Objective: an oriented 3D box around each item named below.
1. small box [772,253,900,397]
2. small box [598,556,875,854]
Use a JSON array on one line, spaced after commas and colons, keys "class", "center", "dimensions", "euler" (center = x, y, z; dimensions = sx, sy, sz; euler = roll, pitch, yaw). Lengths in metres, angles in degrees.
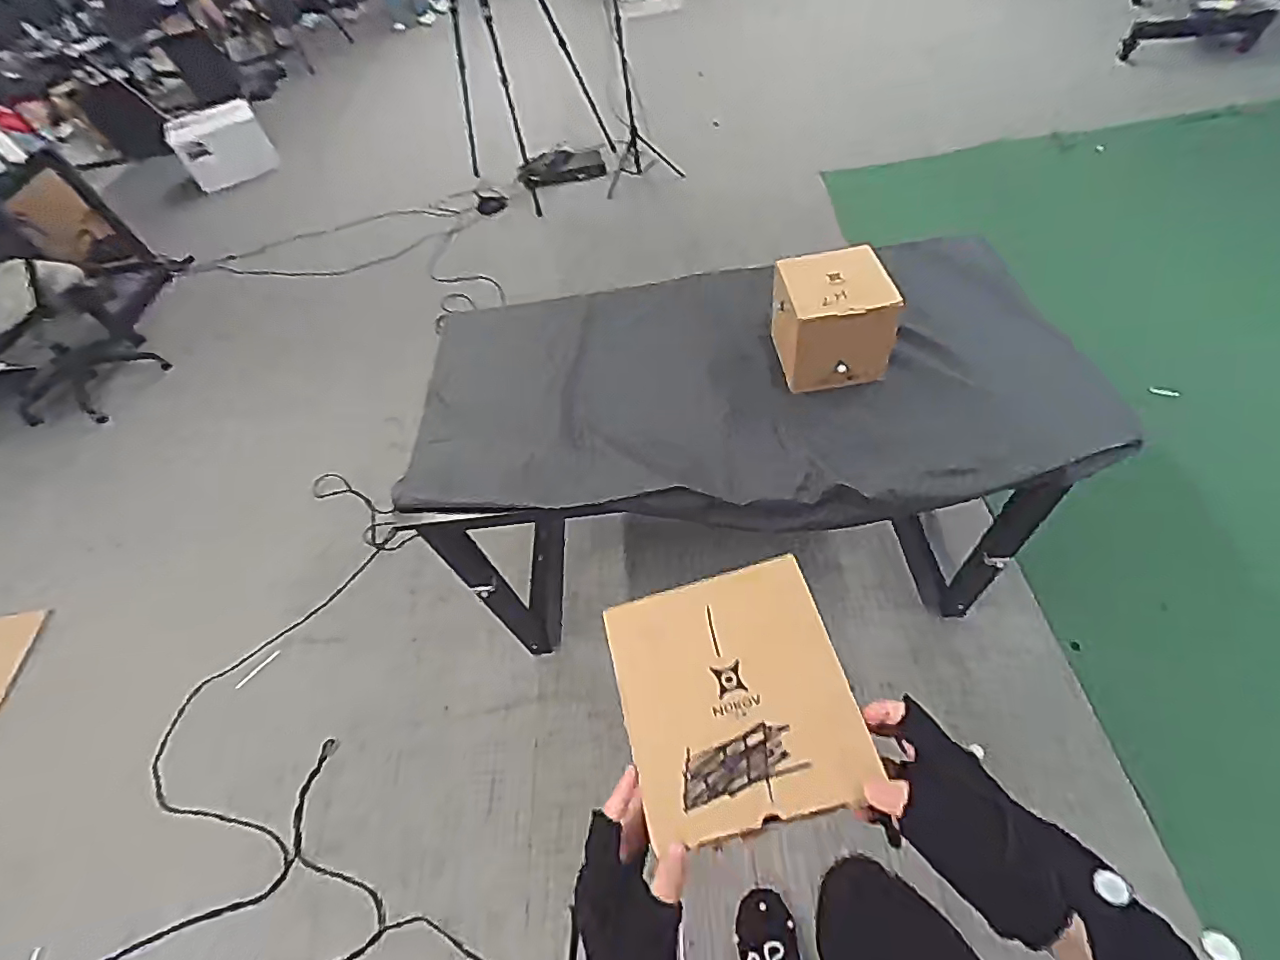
[{"class": "small box", "center": [0.336, -0.275, 0.971], "dimensions": [0.168, 0.176, 0.179], "euler": [-8, 53, 5]}, {"class": "small box", "center": [0.075, 0.192, 0.467], "dimensions": [0.168, 0.176, 0.179], "euler": [-16, 59, 2]}]
